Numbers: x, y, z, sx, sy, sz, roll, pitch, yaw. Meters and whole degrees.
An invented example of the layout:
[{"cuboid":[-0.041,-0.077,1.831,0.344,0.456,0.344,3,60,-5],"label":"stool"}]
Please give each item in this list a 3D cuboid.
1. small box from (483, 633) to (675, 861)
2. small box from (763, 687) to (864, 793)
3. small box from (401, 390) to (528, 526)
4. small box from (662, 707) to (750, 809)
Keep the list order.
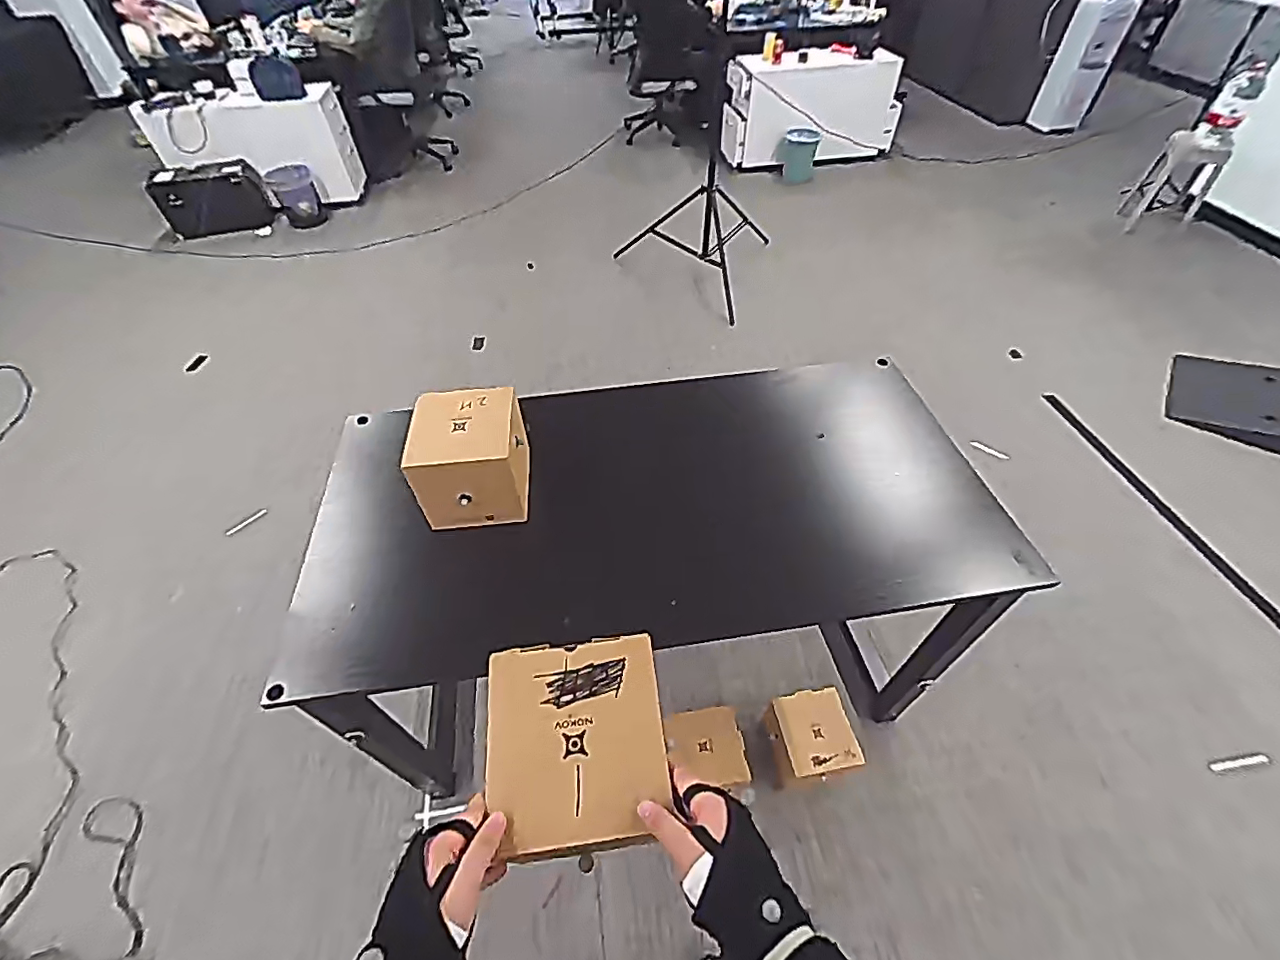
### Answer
[{"cuboid":[-0.061,0.283,0.570,0.168,0.176,0.179,-6,54,-4],"label":"small box"},{"cuboid":[0.408,0.633,1.312,0.168,0.176,0.179,-9,49,-5],"label":"small box"},{"cuboid":[-0.293,-0.032,0.948,0.168,0.176,0.179,-5,48,-3],"label":"small box"},{"cuboid":[0.148,0.666,1.294,0.179,0.176,0.168,-9,48,-5],"label":"small box"}]
